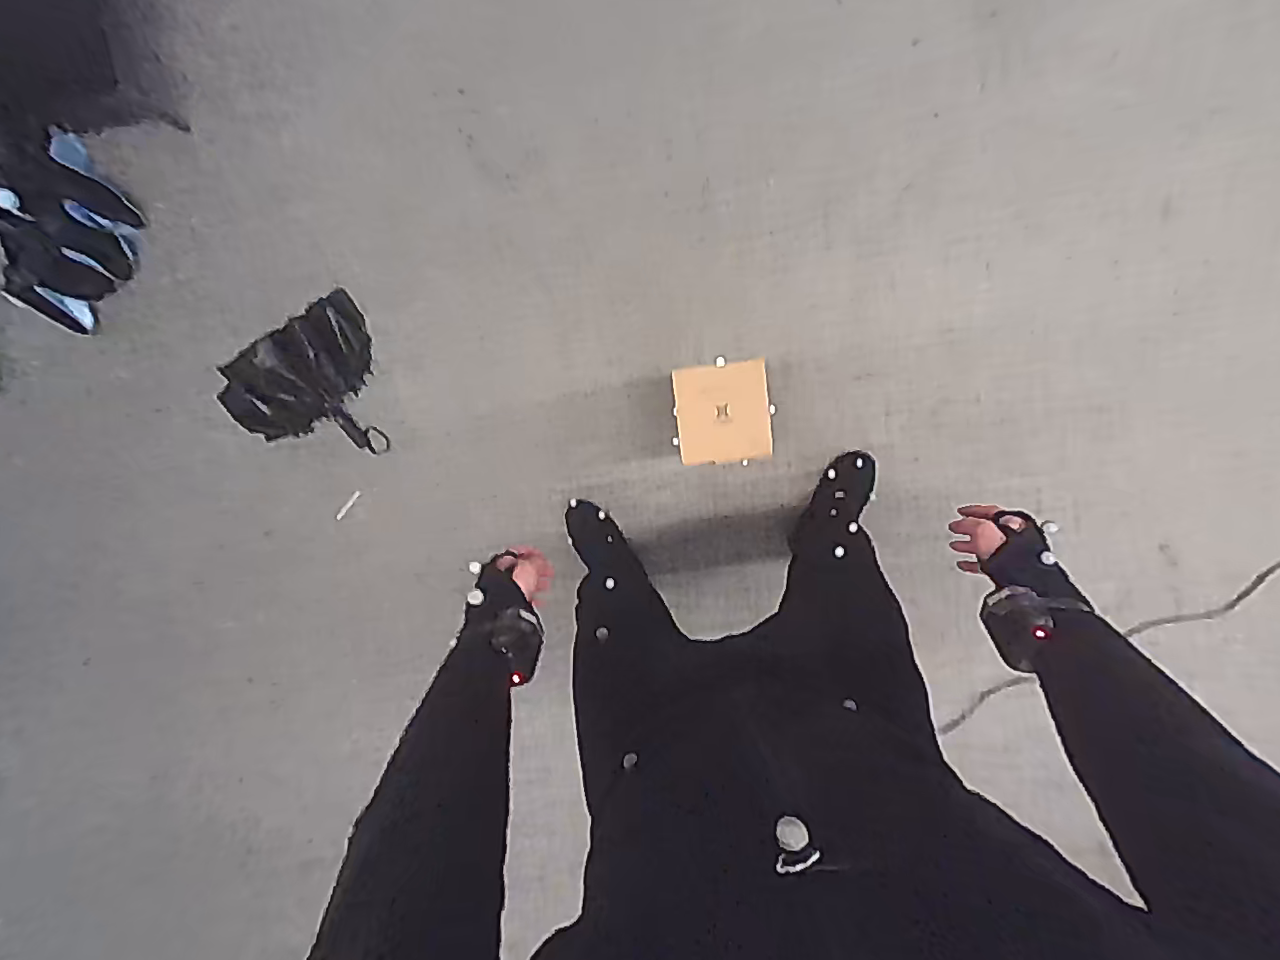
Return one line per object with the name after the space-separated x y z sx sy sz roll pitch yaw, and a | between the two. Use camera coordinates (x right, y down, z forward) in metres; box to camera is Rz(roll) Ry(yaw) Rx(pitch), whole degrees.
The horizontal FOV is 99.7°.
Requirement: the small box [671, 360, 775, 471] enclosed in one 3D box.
0.153 -0.121 1.011 0.168 0.176 0.179 -7 96 7 | small box
